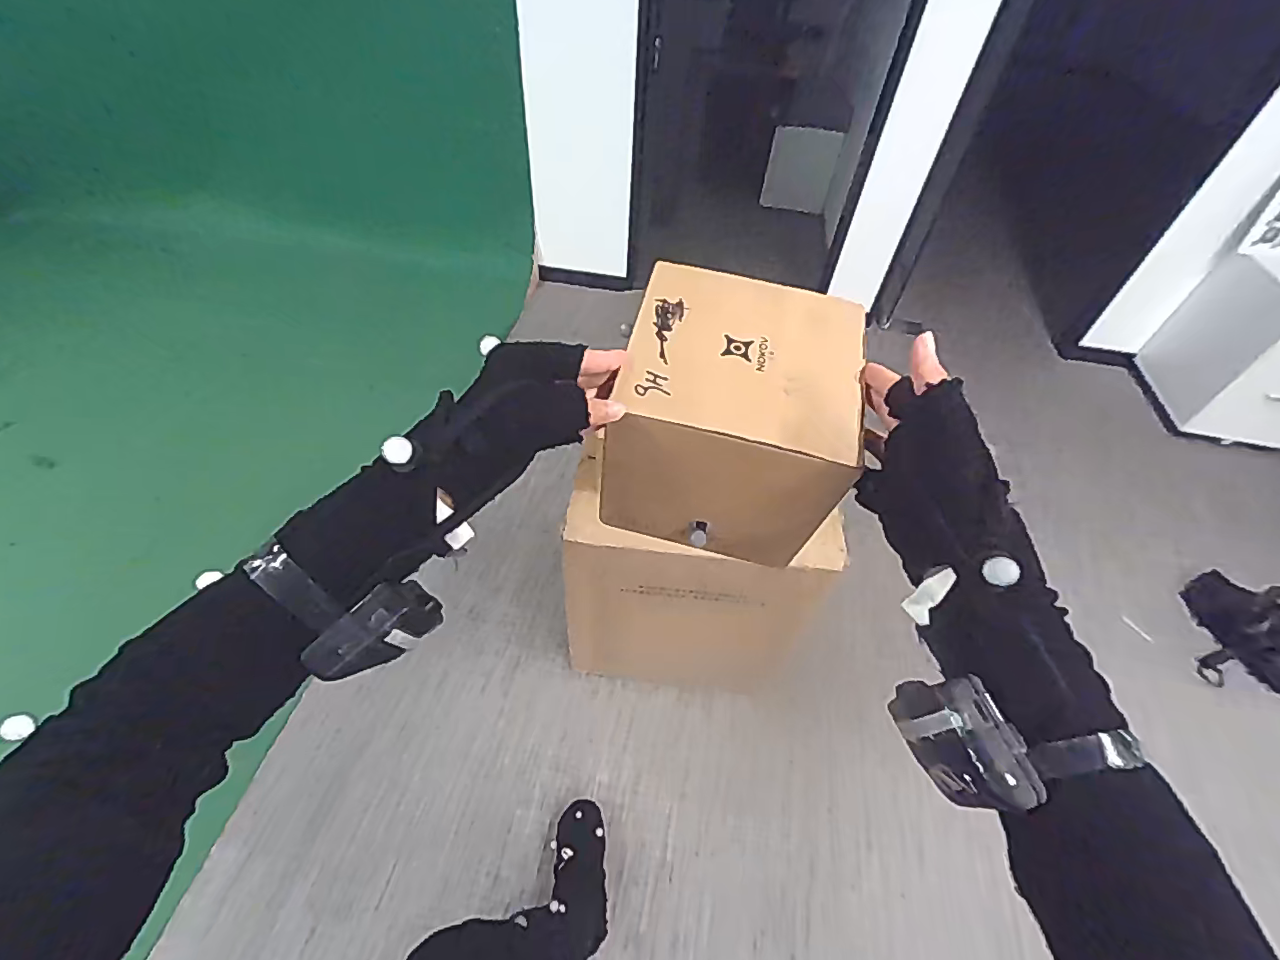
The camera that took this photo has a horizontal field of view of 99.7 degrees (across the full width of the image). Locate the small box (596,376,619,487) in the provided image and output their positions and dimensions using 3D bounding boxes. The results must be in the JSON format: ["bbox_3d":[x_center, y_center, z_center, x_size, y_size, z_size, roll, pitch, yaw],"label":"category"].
[{"bbox_3d":[0.012,-0.077,1.044,0.179,0.176,0.168,6,54,-1],"label":"small box"}]

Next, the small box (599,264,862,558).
[{"bbox_3d":[0.071,-0.050,0.472,0.179,0.176,0.168,15,56,2],"label":"small box"}]
